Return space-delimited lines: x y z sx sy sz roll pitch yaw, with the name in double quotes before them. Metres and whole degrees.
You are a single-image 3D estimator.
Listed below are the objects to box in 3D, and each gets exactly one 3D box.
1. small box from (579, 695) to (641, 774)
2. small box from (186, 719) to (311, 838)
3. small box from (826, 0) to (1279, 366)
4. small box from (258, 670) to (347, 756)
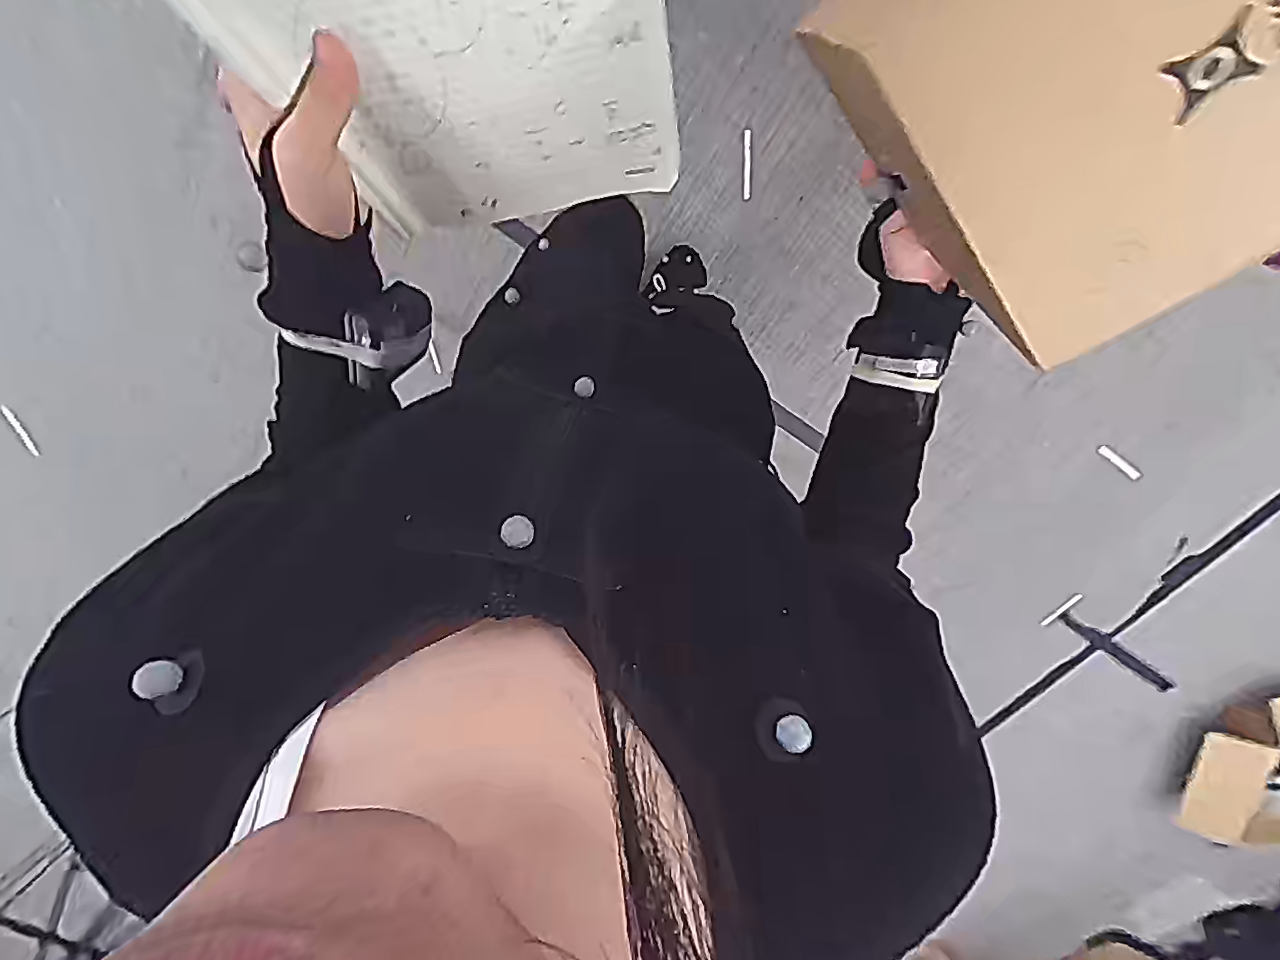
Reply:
"small box" -0.096 0.877 1.869 0.168 0.176 0.179 -12 112 9
"small box" -0.968 0.739 1.355 0.168 0.176 0.179 35 111 -11
"small box" 0.200 -0.191 0.231 0.179 0.176 0.168 -35 121 30
"small box" -0.953 0.665 1.500 0.168 0.176 0.179 37 112 -13
